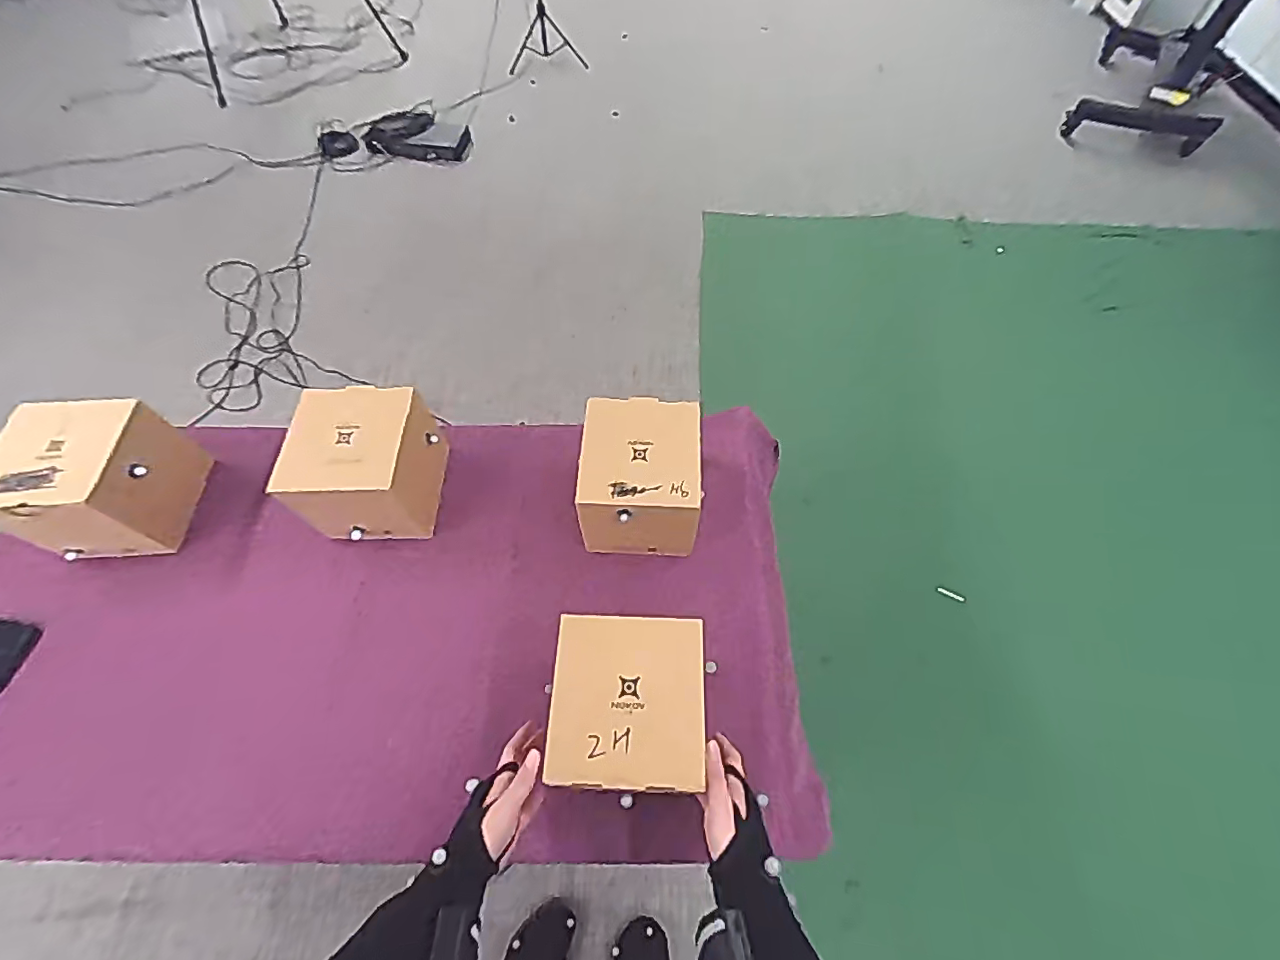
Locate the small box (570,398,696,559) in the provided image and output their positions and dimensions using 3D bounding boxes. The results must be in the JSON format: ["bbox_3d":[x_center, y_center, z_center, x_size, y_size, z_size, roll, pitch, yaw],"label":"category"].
[{"bbox_3d":[-0.005,0.001,0.804,0.168,0.176,0.179,2,59,2],"label":"small box"}]

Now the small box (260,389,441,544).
[{"bbox_3d":[-0.416,-0.018,0.815,0.168,0.176,0.179,-1,60,0],"label":"small box"}]

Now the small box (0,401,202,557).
[{"bbox_3d":[-0.804,0.007,0.797,0.168,0.176,0.179,-3,58,-3],"label":"small box"}]

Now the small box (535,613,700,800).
[{"bbox_3d":[-0.018,0.271,0.639,0.168,0.176,0.179,1,58,3],"label":"small box"}]
